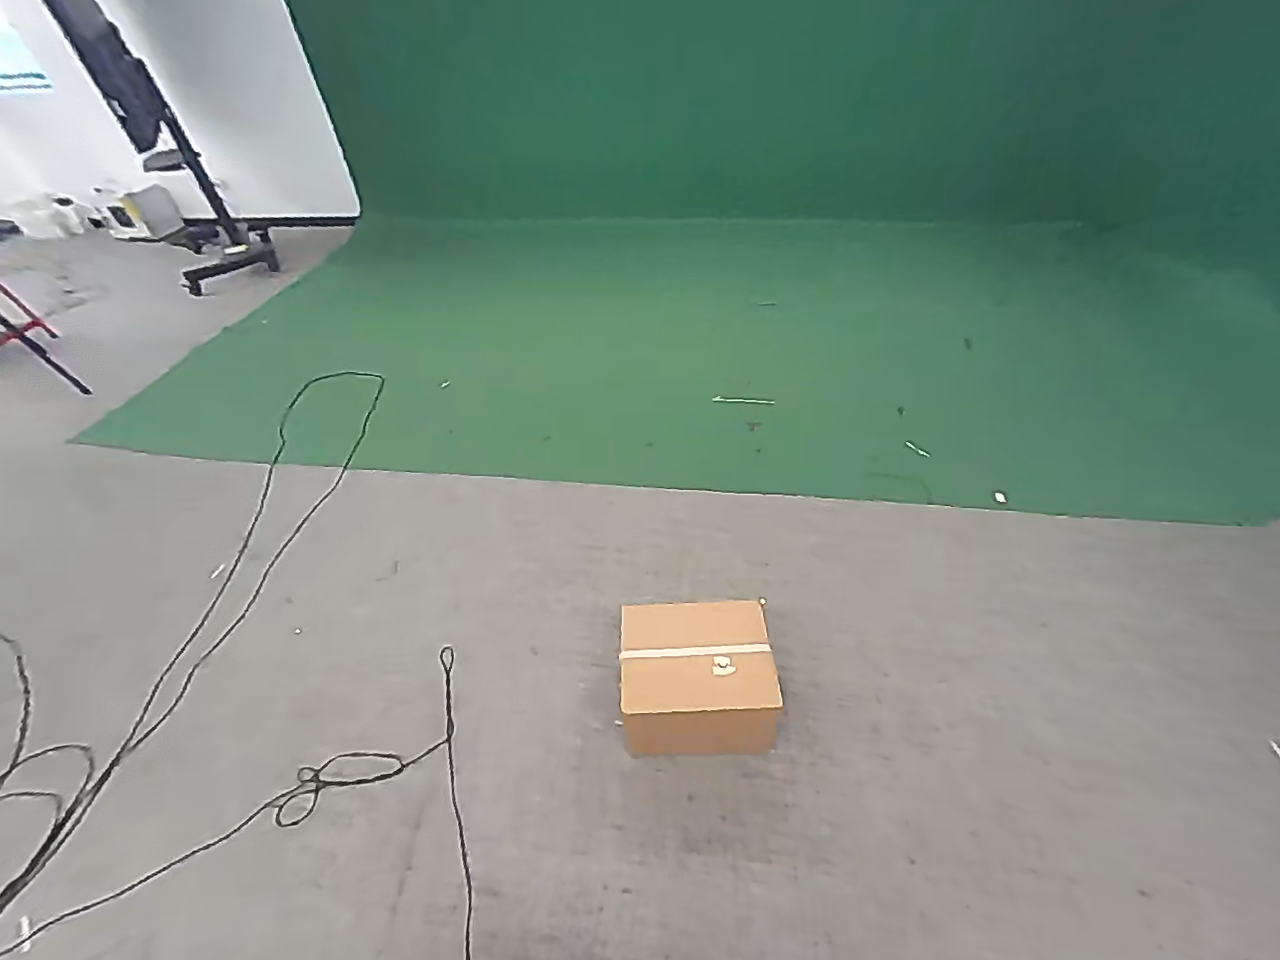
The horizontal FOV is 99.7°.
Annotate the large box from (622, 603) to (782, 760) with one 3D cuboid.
[{"bbox_3d":[0.156,0.577,1.546,0.408,0.320,0.320,-3,44,1],"label":"large box"}]
